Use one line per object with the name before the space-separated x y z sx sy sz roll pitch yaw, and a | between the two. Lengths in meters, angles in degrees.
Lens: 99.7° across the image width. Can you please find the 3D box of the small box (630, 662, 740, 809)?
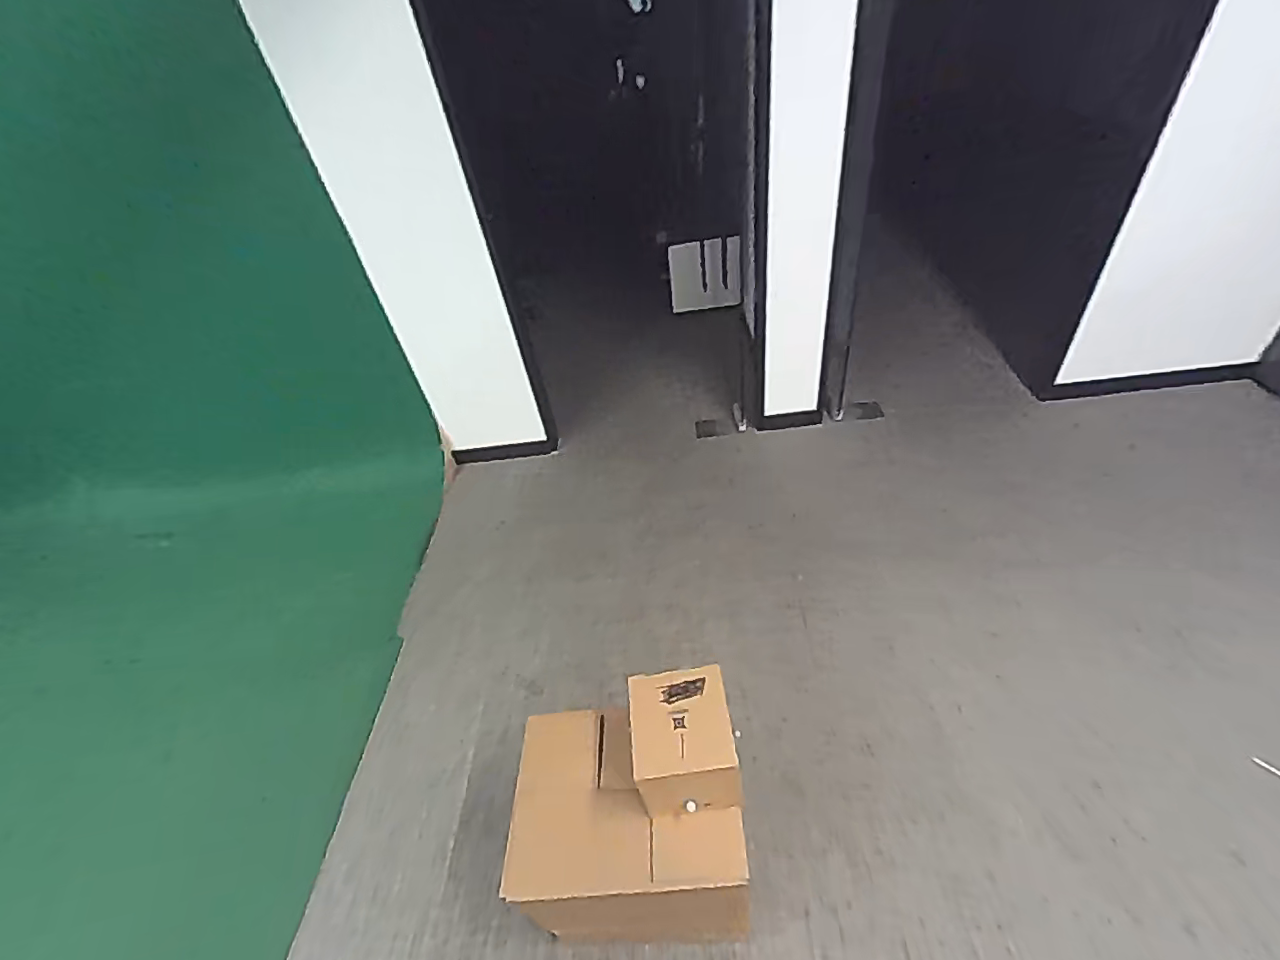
small box | 0.079 0.451 0.955 0.168 0.176 0.179 -10 43 4
